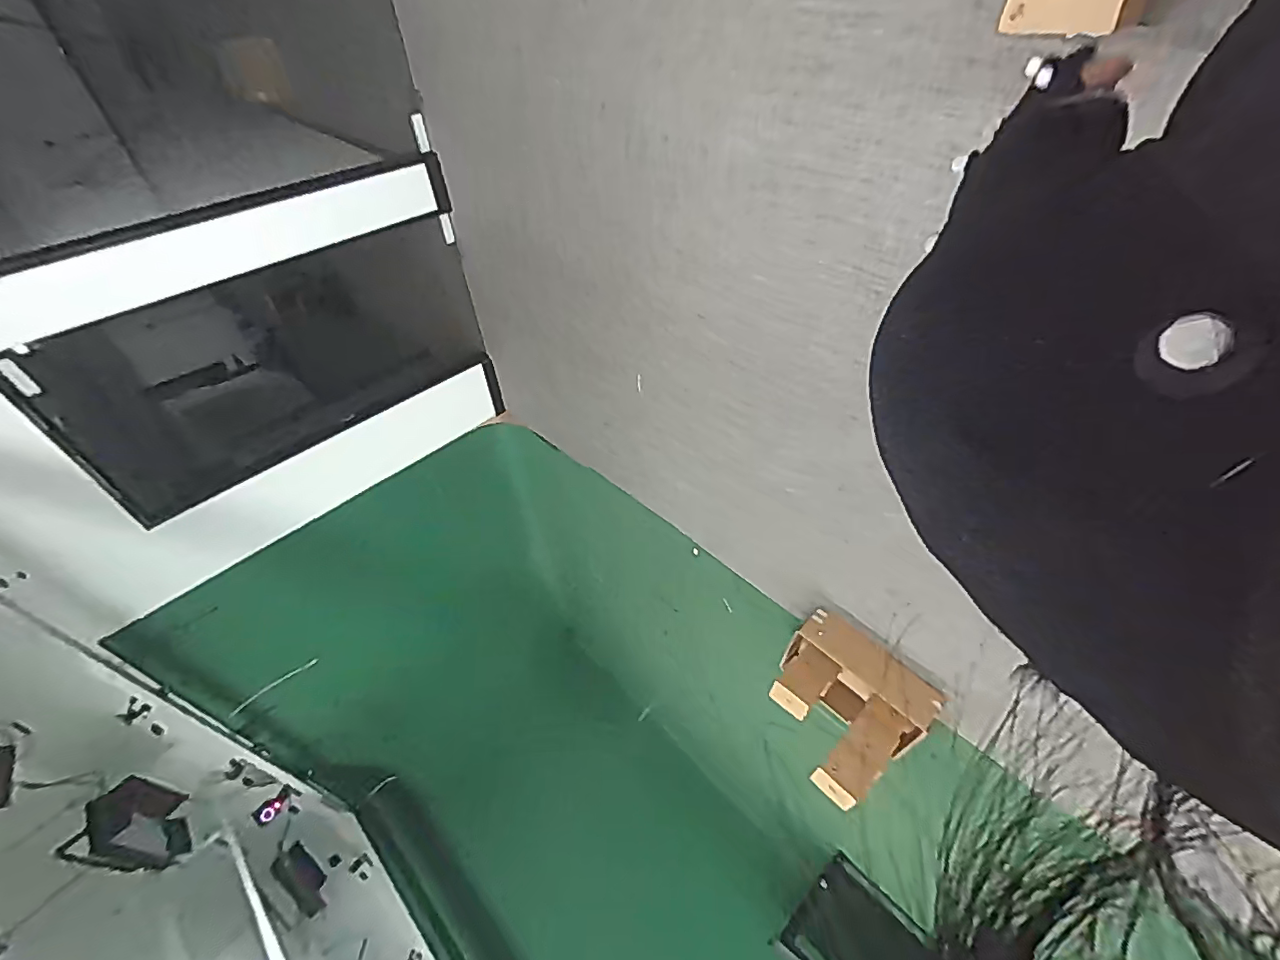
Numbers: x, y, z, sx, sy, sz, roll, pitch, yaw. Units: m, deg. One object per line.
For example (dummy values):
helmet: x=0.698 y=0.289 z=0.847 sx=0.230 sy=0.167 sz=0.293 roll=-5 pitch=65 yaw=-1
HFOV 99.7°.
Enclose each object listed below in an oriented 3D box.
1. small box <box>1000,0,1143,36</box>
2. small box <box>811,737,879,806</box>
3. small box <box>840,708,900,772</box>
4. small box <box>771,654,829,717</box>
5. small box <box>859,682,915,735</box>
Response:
small box: x=0.756 y=-0.864 z=0.903 sx=0.179 sy=0.176 sz=0.168 roll=34 pitch=145 yaw=32
small box: x=0.838 y=1.184 z=2.210 sx=0.179 sy=0.176 sz=0.168 roll=37 pitch=147 yaw=29
small box: x=0.963 y=1.106 z=2.286 sx=0.179 sy=0.176 sz=0.168 roll=38 pitch=147 yaw=29
small box: x=0.724 y=0.920 z=2.437 sx=0.179 sy=0.176 sz=0.168 roll=35 pitch=144 yaw=29
small box: x=1.076 y=1.026 z=2.375 sx=0.168 sy=0.176 sz=0.179 roll=37 pitch=146 yaw=29
